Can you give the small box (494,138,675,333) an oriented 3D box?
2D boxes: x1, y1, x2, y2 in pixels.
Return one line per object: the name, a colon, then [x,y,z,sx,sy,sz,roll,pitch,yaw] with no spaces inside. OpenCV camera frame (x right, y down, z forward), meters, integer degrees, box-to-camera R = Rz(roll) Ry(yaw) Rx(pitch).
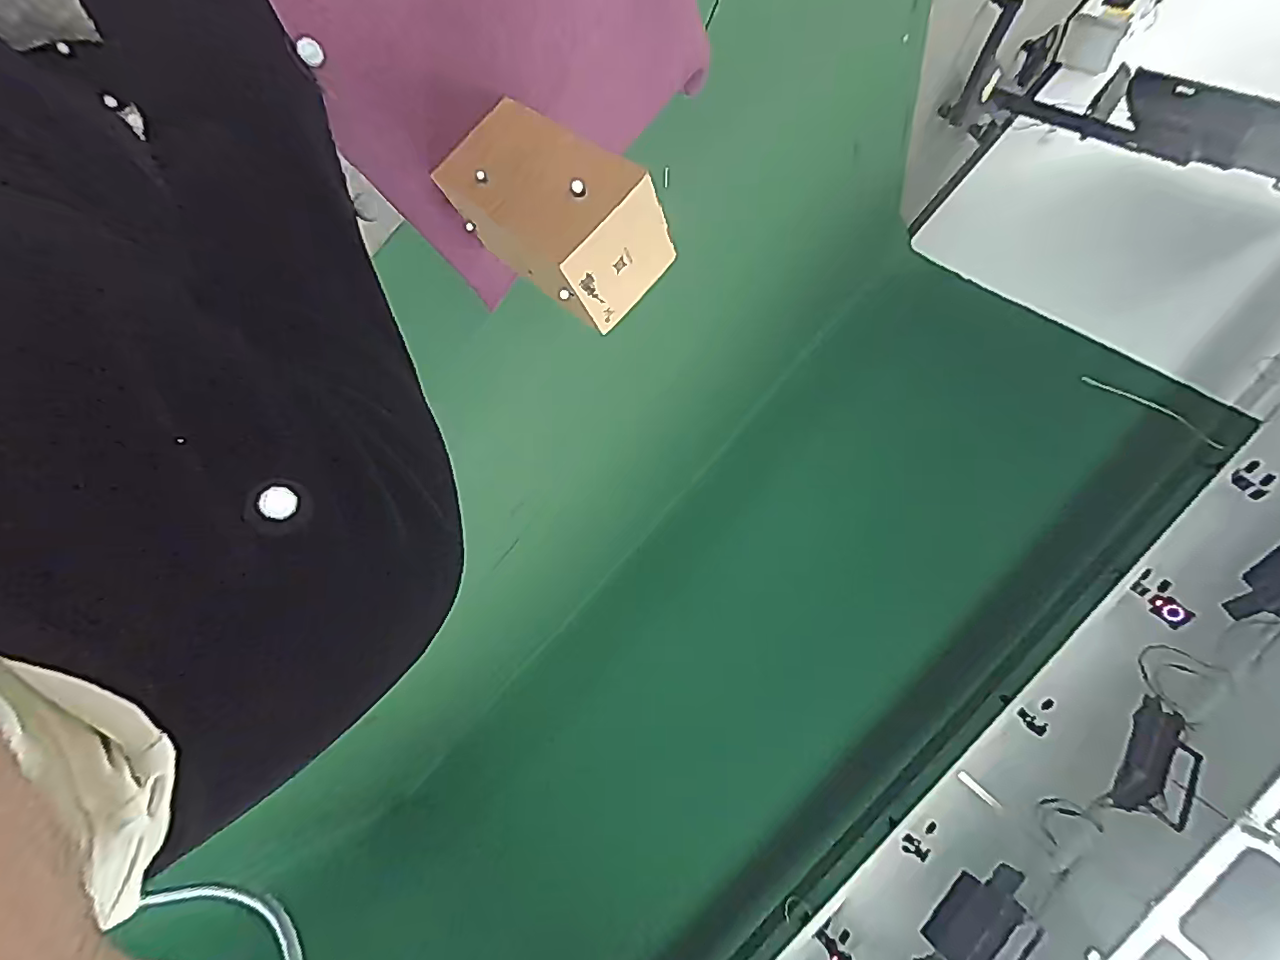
small box: [-0.080,-0.364,0.806,0.179,0.176,0.168,-48,154,-2]
